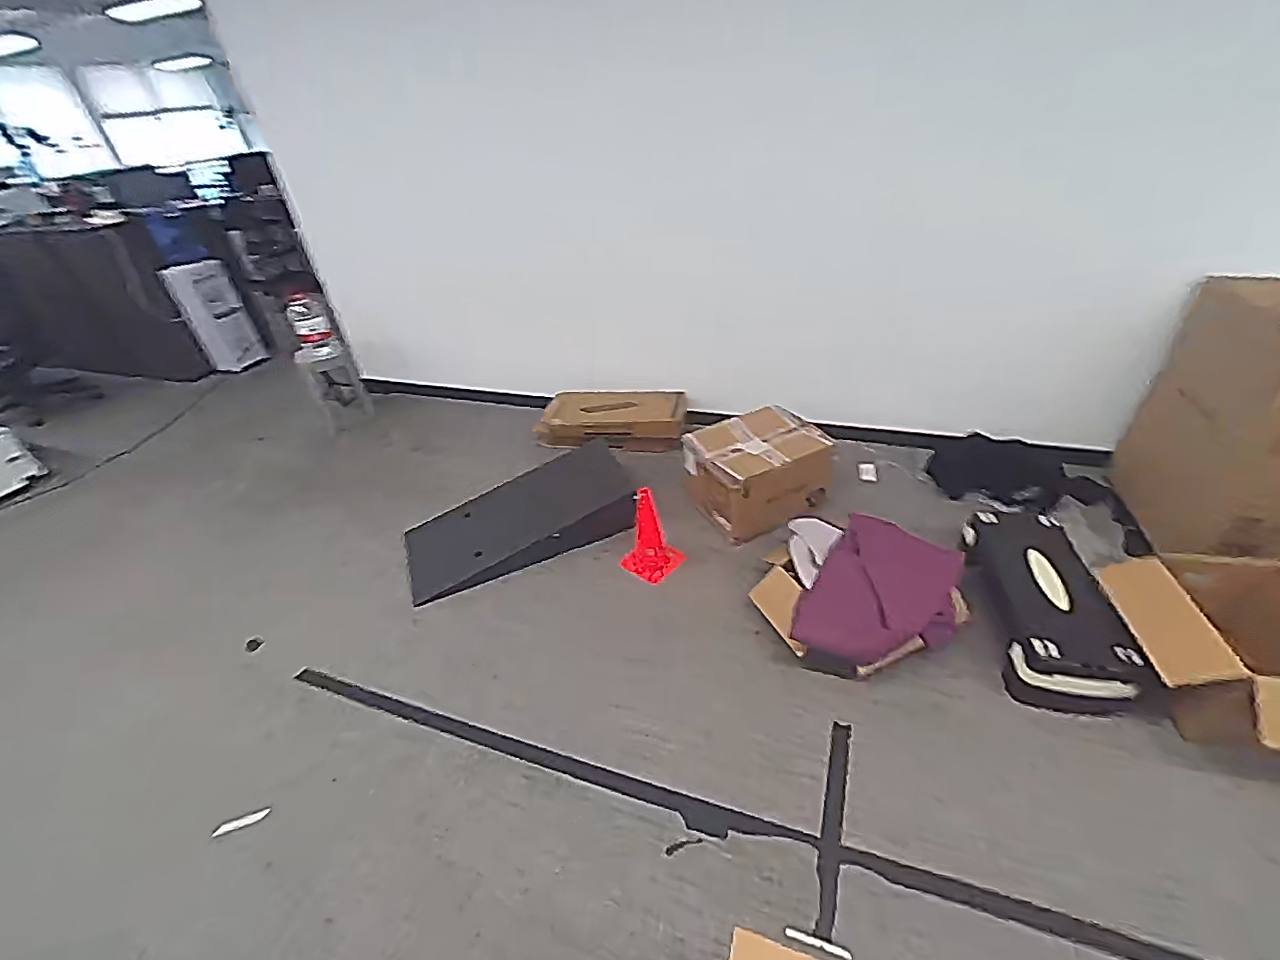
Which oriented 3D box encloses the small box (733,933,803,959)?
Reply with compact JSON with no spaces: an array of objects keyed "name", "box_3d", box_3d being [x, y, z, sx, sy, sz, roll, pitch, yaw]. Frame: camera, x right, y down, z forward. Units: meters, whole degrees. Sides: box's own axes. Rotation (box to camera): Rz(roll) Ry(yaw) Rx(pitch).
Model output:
[{"name":"small box","box_3d":[0.223,0.921,0.905,0.168,0.176,0.179,8,38,21]}]
